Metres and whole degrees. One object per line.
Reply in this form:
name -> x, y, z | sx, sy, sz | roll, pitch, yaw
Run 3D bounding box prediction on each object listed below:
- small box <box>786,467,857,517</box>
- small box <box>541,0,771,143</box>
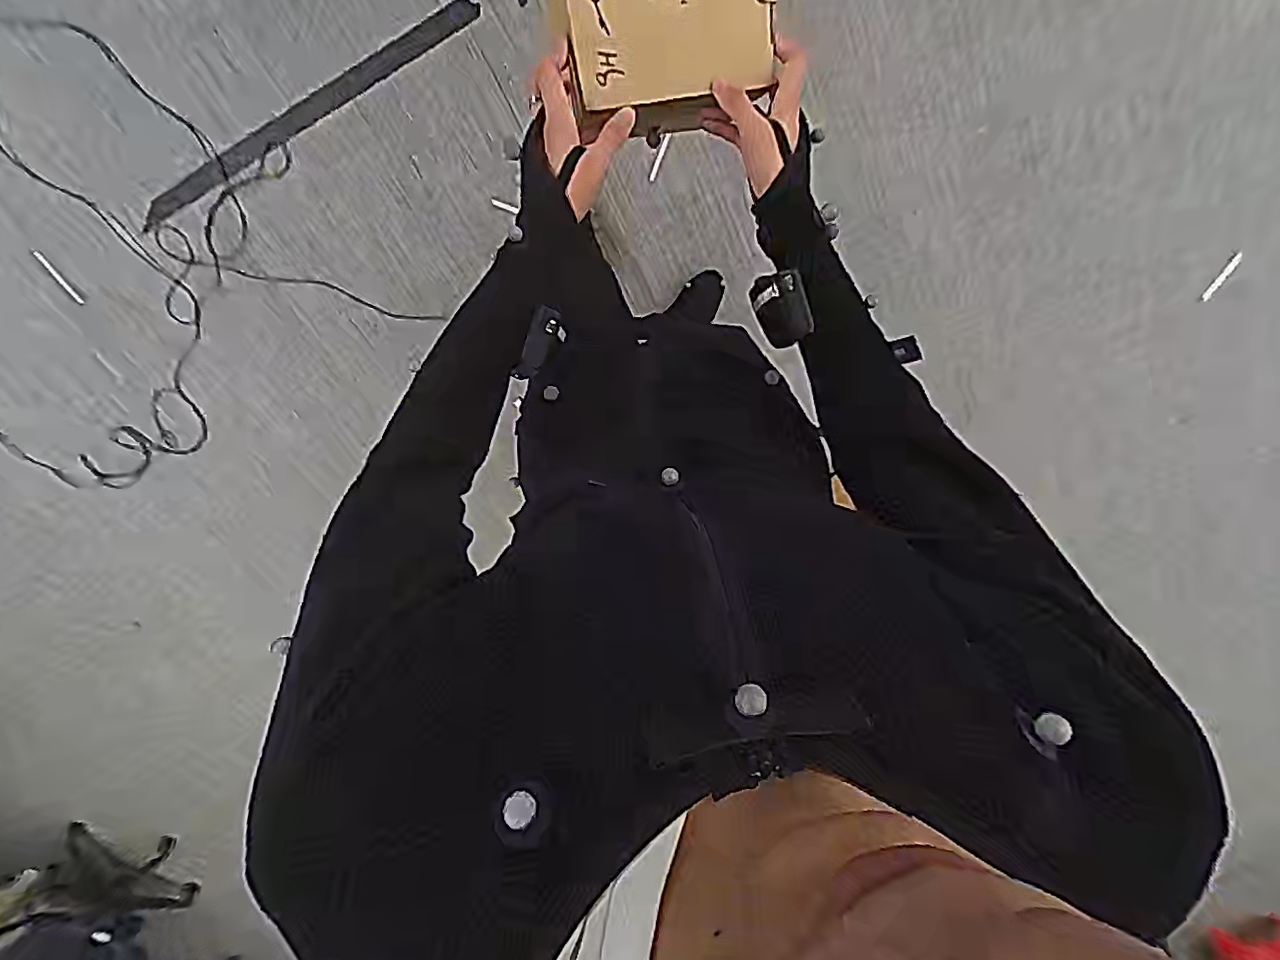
small box -> 0.583, 0.089, 1.700 | 0.168, 0.176, 0.179 | -29, 113, 11
small box -> 0.006, -0.433, 0.508 | 0.179, 0.176, 0.168 | -12, 114, -7
